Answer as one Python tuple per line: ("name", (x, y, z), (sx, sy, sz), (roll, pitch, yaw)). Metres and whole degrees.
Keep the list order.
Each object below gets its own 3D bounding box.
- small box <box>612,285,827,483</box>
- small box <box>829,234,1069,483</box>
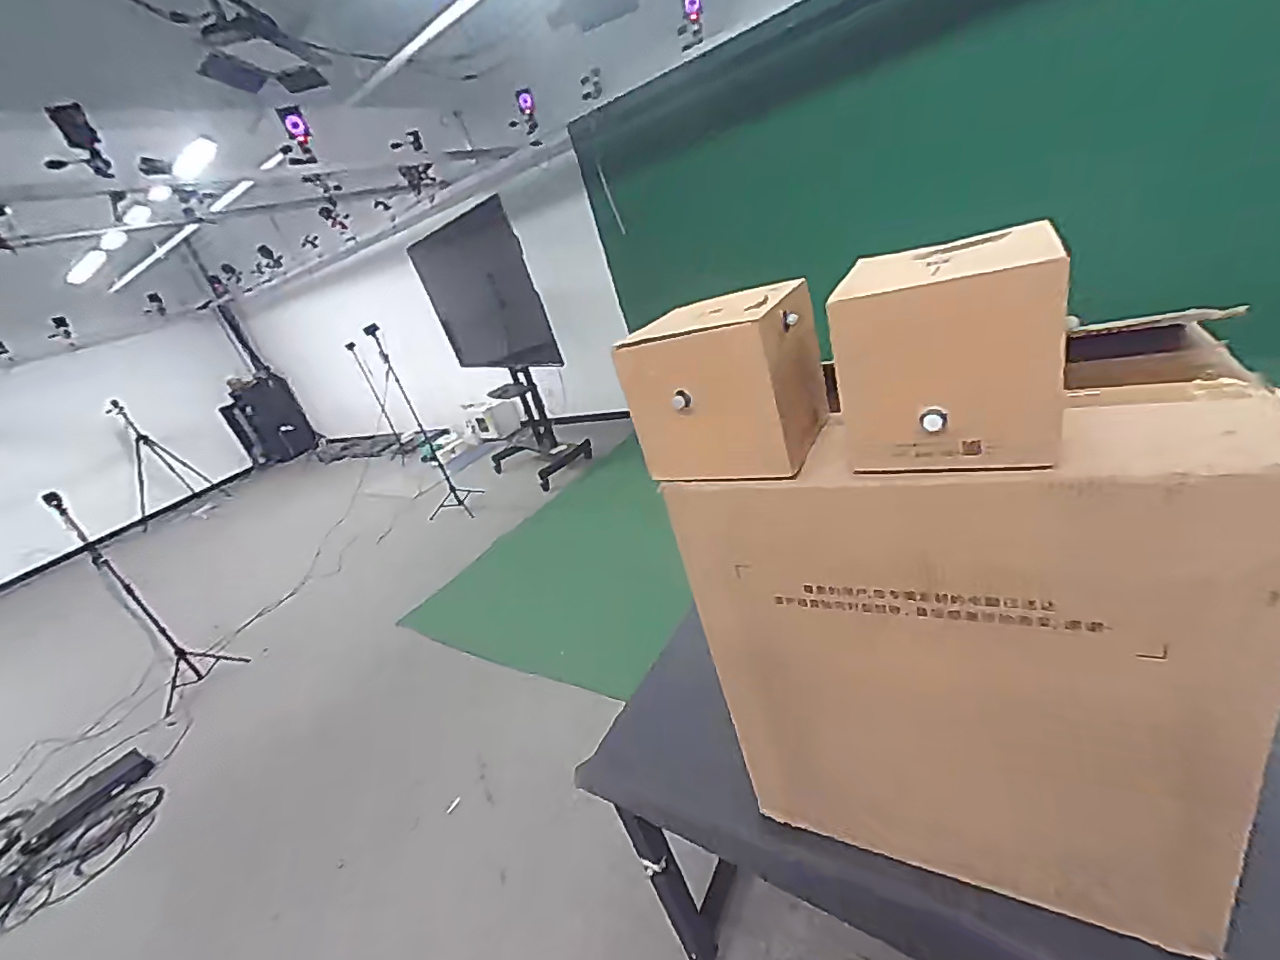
("small box", (0.100, -0.106, 0.625), (0.179, 0.176, 0.168), (-1, 30, 34))
("small box", (0.289, -0.113, 0.511), (0.168, 0.176, 0.179), (0, 31, 33))
